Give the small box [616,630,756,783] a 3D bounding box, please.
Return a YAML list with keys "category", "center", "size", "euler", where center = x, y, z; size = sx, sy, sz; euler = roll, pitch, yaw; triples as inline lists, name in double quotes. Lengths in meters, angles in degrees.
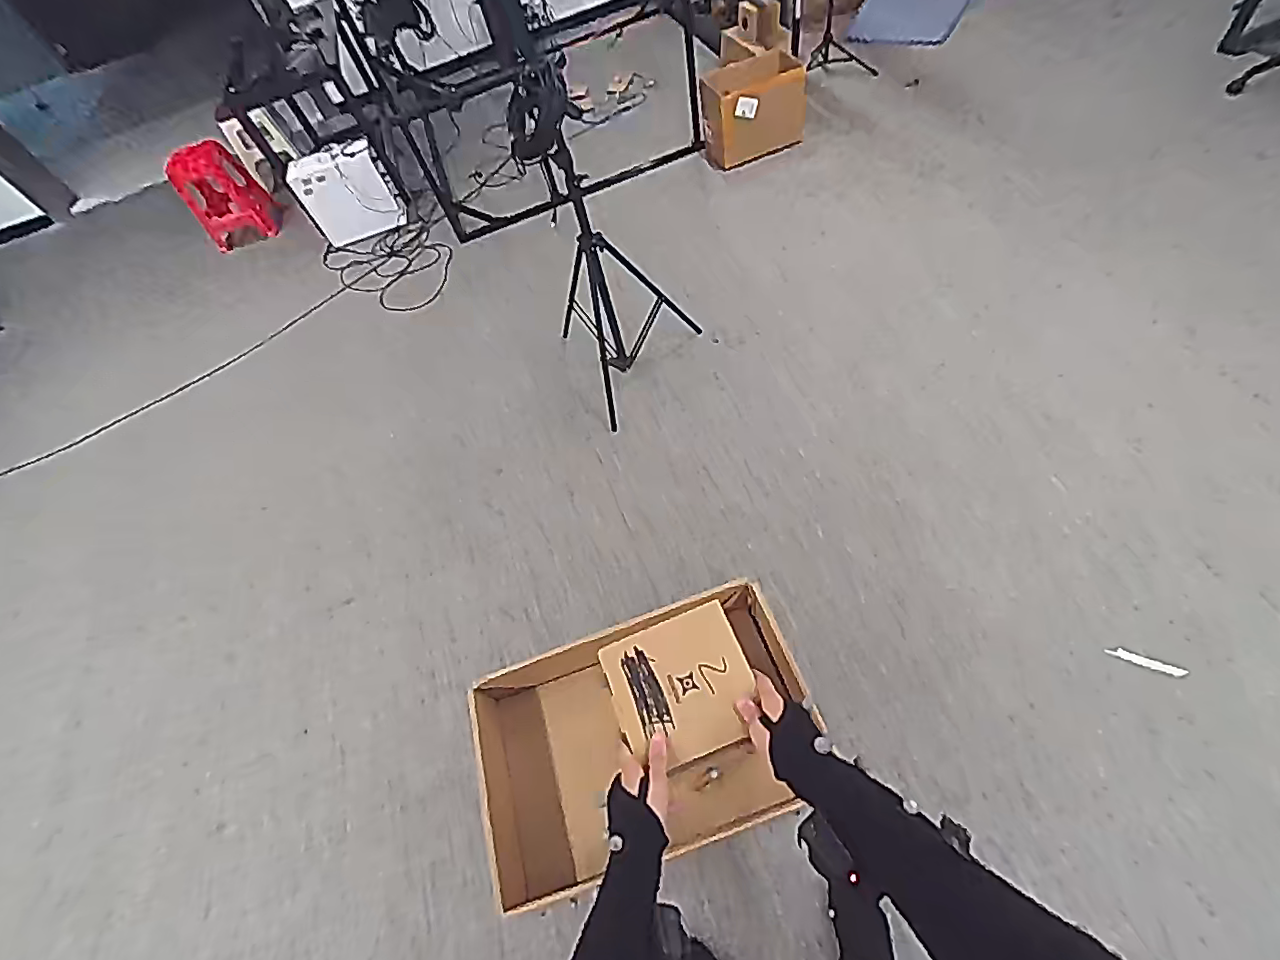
- category: "small box"
  center: [0.076, 0.374, 0.881]
  size: [0.168, 0.176, 0.179]
  euler: [-23, 59, -1]
